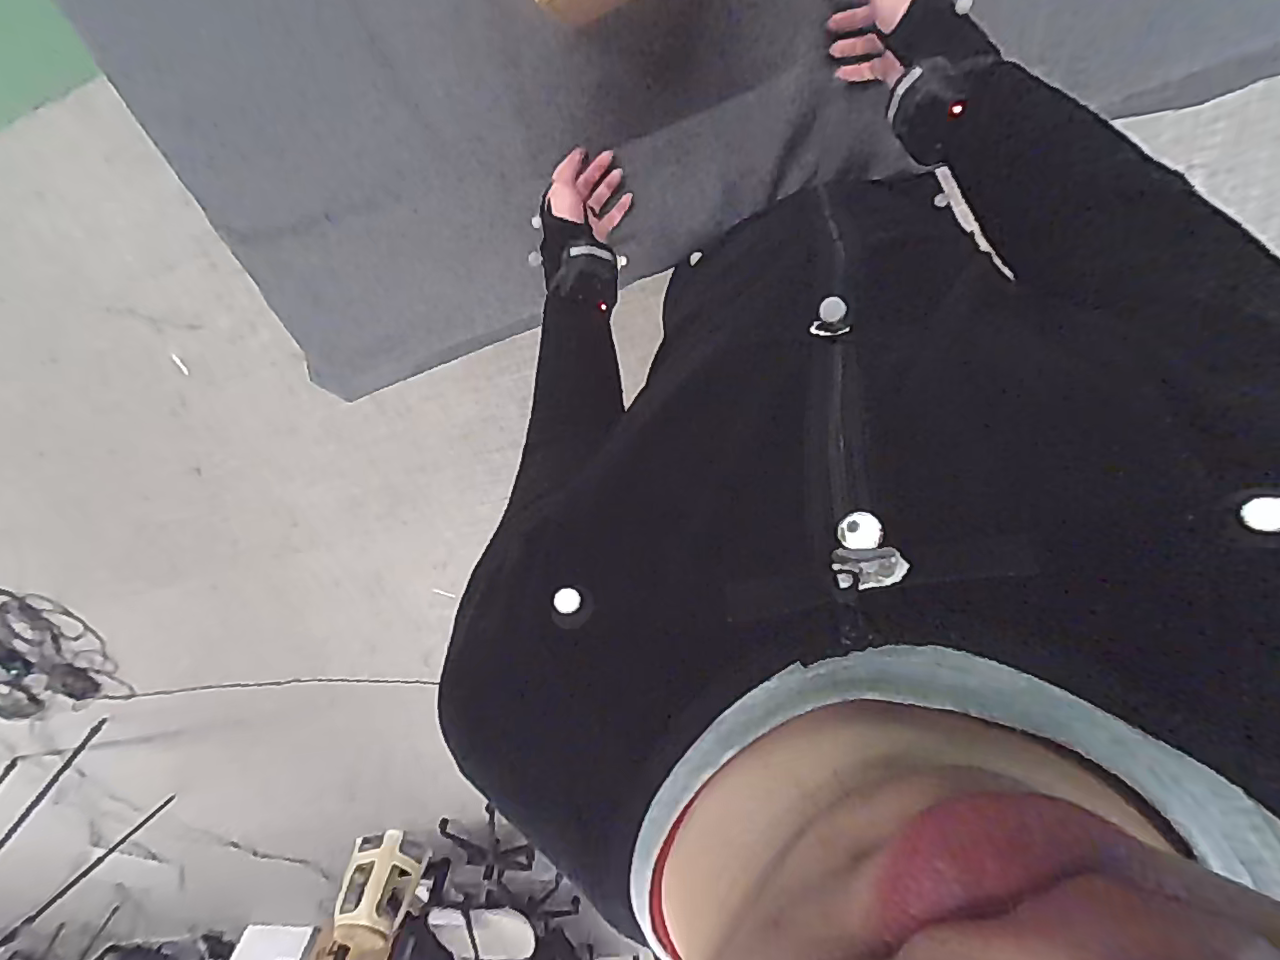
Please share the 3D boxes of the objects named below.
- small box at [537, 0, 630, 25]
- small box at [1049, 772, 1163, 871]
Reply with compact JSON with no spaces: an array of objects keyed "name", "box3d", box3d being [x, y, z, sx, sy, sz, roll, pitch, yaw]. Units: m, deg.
[{"name":"small box","box3d":[-0.026,-0.516,0.444,0.179,0.176,0.168,-17,122,13]},{"name":"small box","box3d":[1.244,0.920,1.461,0.179,0.176,0.168,-16,121,14]}]
